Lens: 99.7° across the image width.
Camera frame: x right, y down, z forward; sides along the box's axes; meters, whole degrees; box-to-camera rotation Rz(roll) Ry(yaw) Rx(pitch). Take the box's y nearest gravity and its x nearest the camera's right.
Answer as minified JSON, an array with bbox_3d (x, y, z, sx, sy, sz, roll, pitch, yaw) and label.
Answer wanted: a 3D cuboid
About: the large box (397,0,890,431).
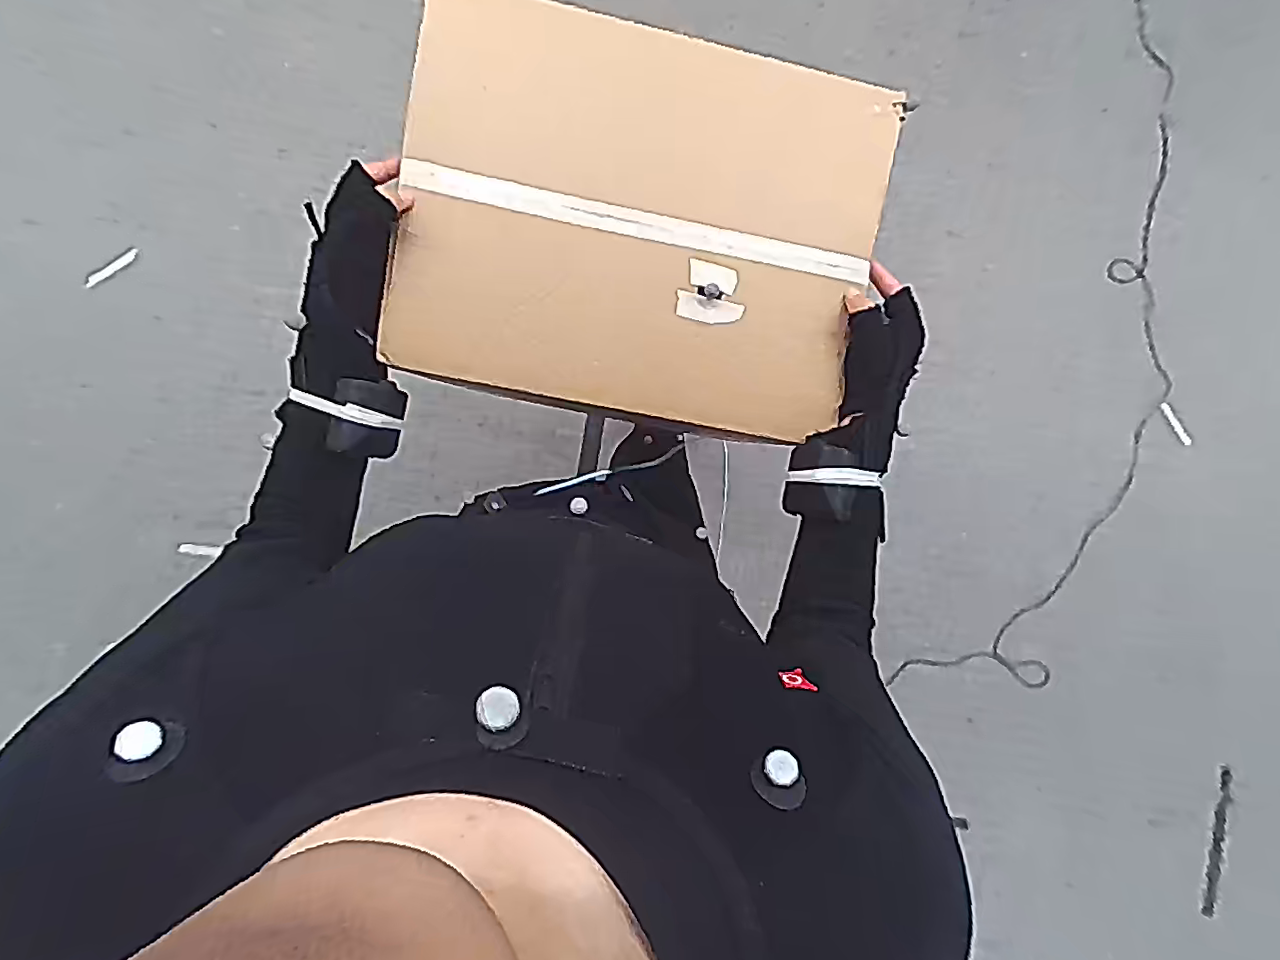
[{"bbox_3d":[-0.009,-0.241,0.623,0.408,0.320,0.320,10,96,-6],"label":"large box"}]
